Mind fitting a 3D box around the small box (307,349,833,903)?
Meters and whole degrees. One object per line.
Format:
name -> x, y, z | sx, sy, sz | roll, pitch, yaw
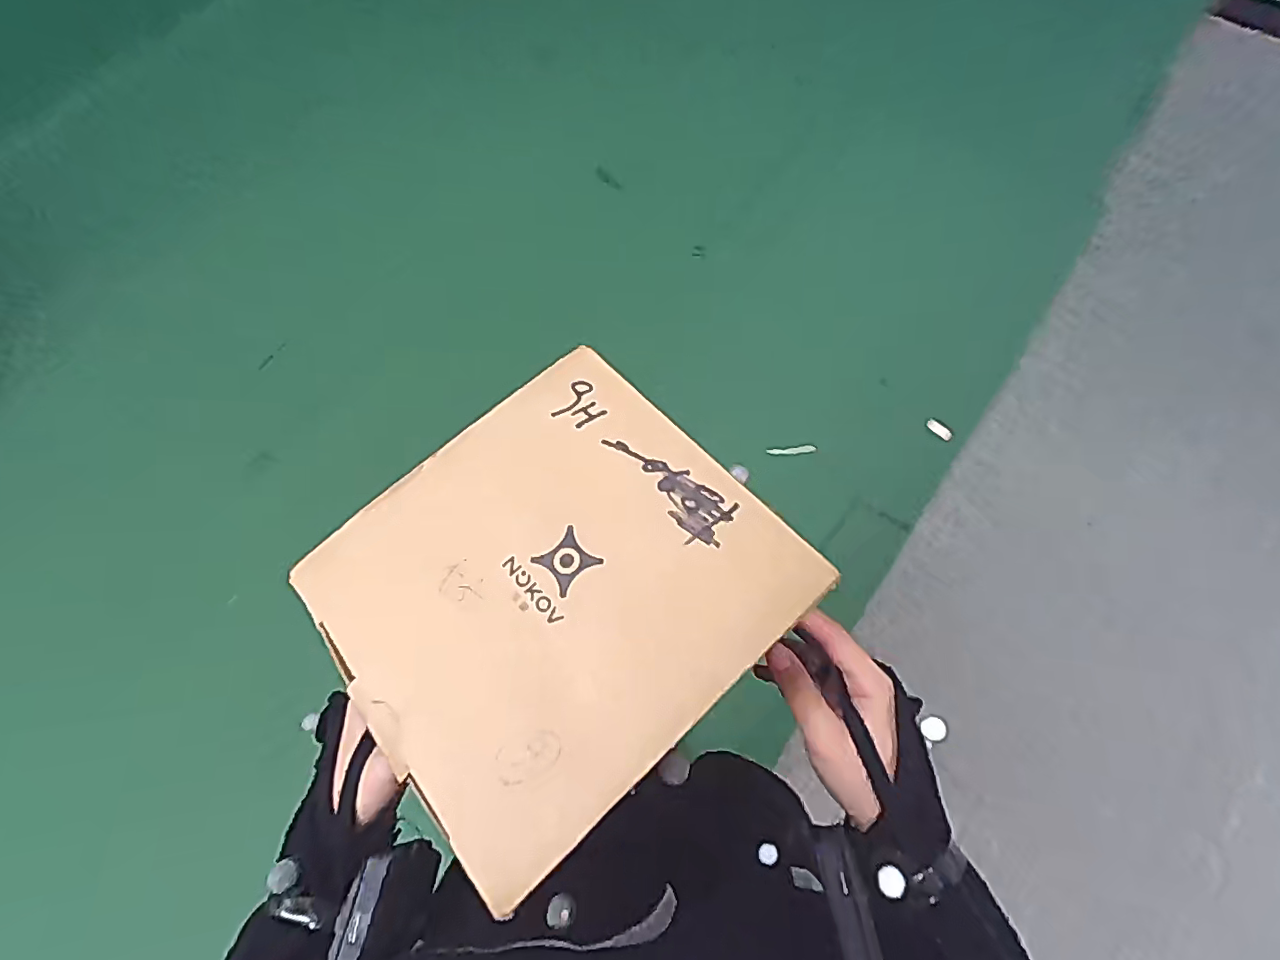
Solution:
small box -> -0.027, 0.072, 0.302 | 0.179, 0.176, 0.168 | -40, 69, -11
